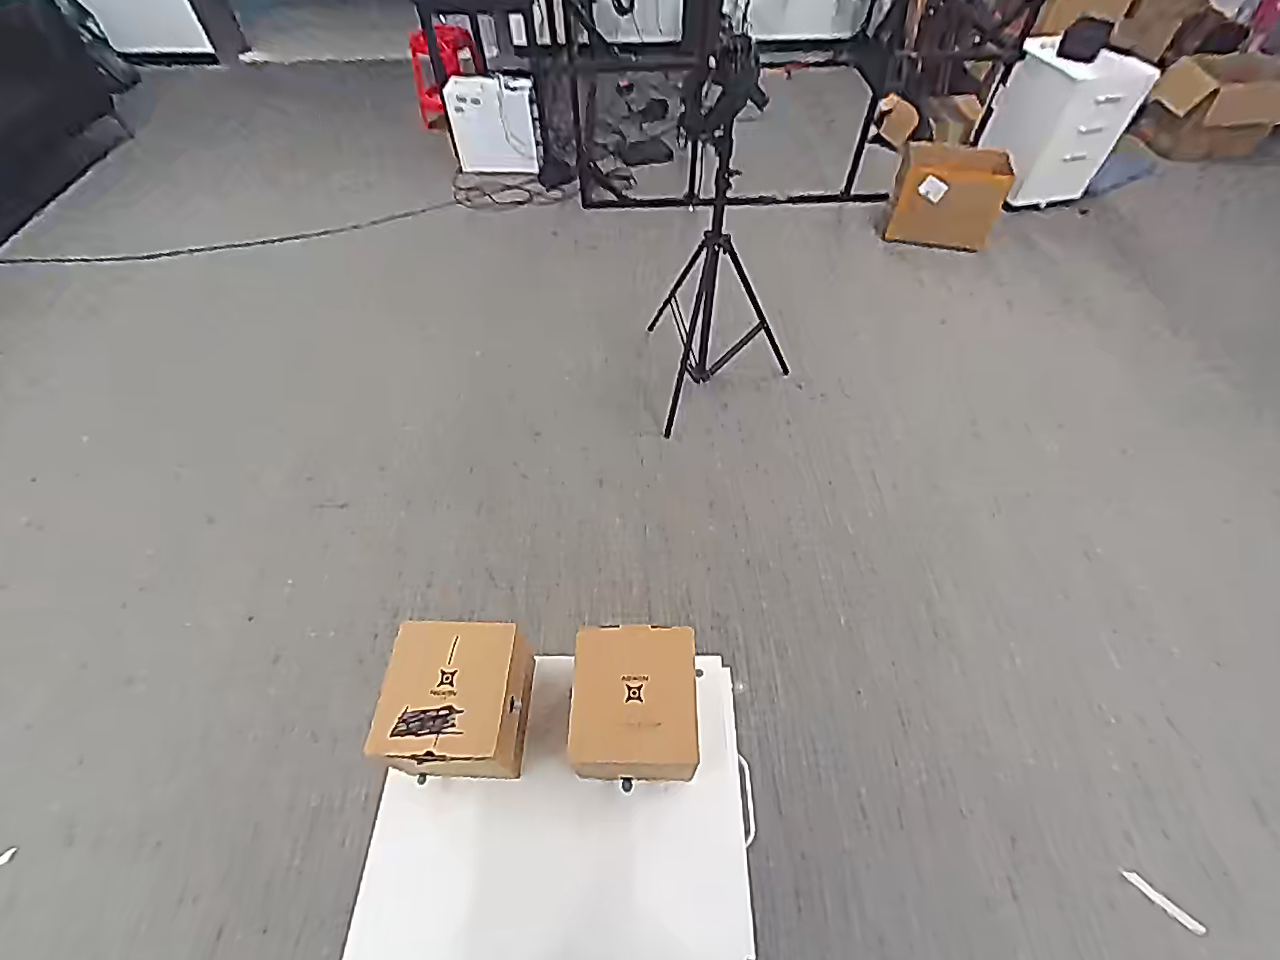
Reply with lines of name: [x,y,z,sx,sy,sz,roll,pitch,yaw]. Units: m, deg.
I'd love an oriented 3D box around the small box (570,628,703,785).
small box: [-0.002,0.325,0.771,0.168,0.176,0.179,-1,55,2]

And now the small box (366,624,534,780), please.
small box: [-0.253,0.321,0.773,0.168,0.176,0.179,1,53,1]
